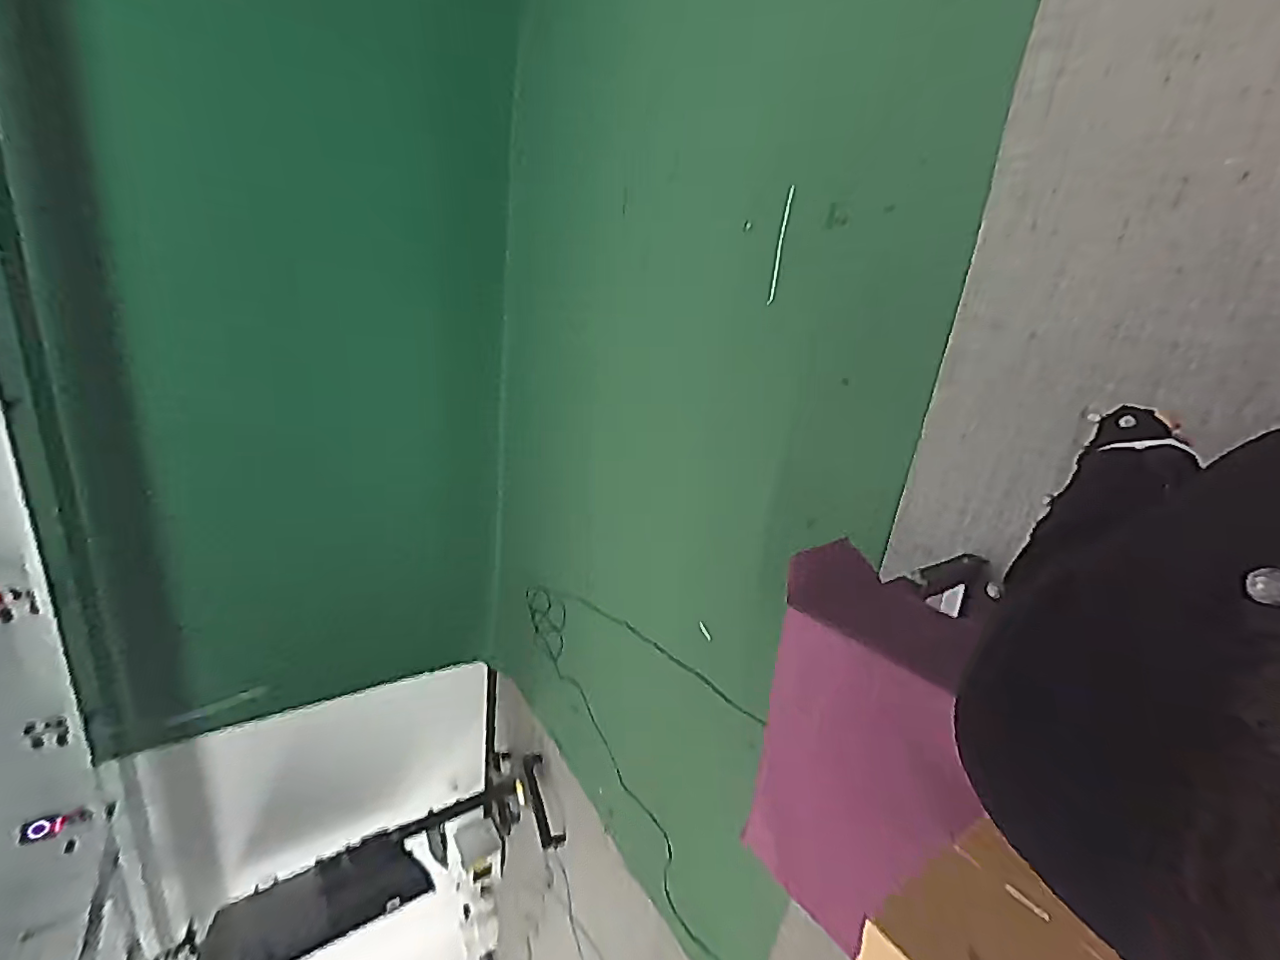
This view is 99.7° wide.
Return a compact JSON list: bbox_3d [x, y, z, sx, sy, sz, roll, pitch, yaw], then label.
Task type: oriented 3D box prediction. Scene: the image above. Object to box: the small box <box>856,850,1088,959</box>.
[{"bbox_3d":[0.353,0.556,0.582,0.179,0.176,0.168,23,114,51],"label":"small box"}]
